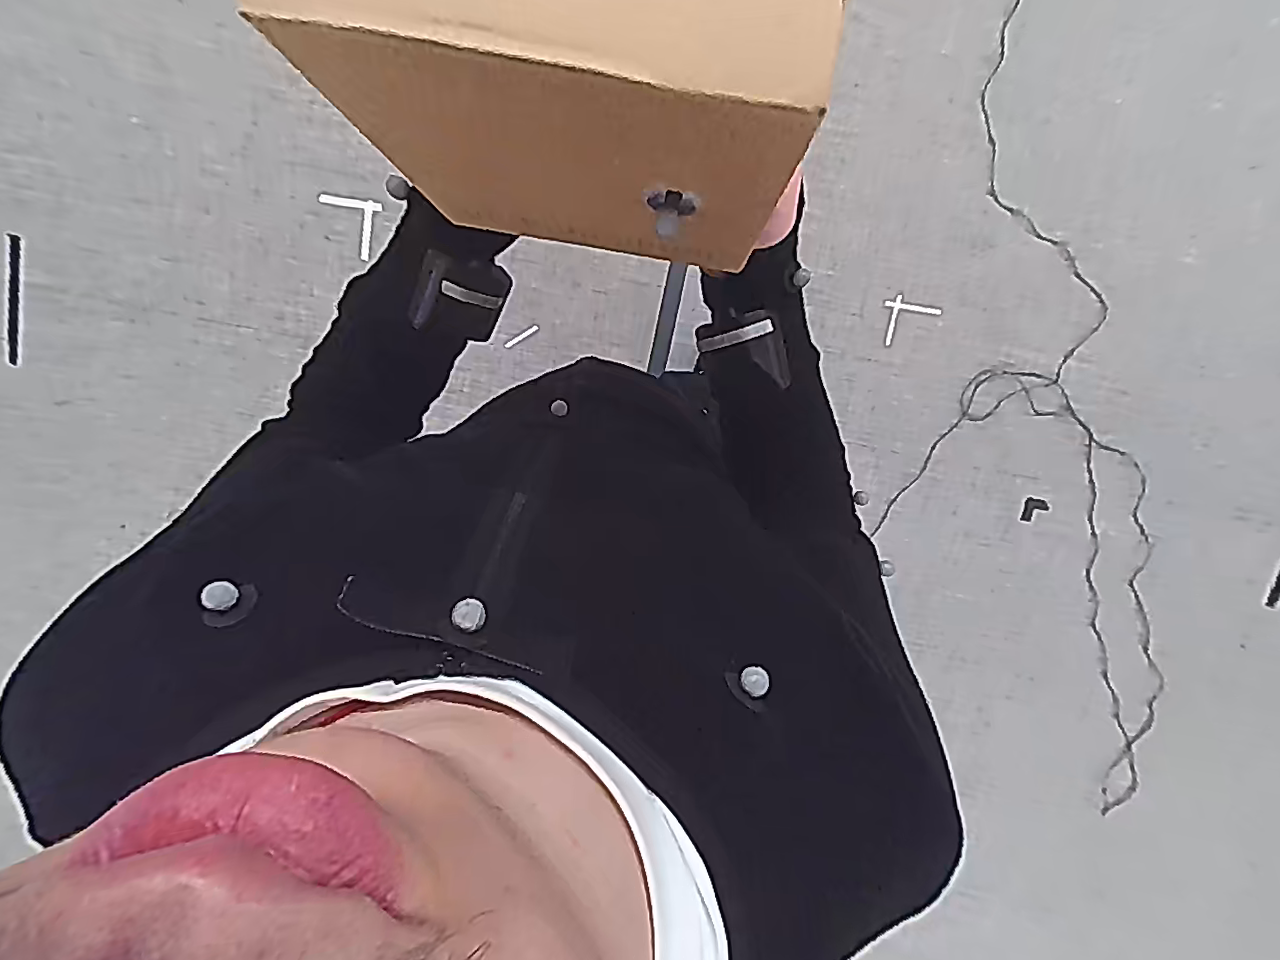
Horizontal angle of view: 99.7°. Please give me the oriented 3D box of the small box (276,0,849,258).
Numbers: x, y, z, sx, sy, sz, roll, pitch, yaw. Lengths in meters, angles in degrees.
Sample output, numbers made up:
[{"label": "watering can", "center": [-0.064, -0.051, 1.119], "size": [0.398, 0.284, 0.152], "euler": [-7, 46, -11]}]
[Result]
[{"label": "small box", "center": [-0.012, -0.214, 0.238], "size": [0.179, 0.176, 0.168], "euler": [10, 94, 1]}]
